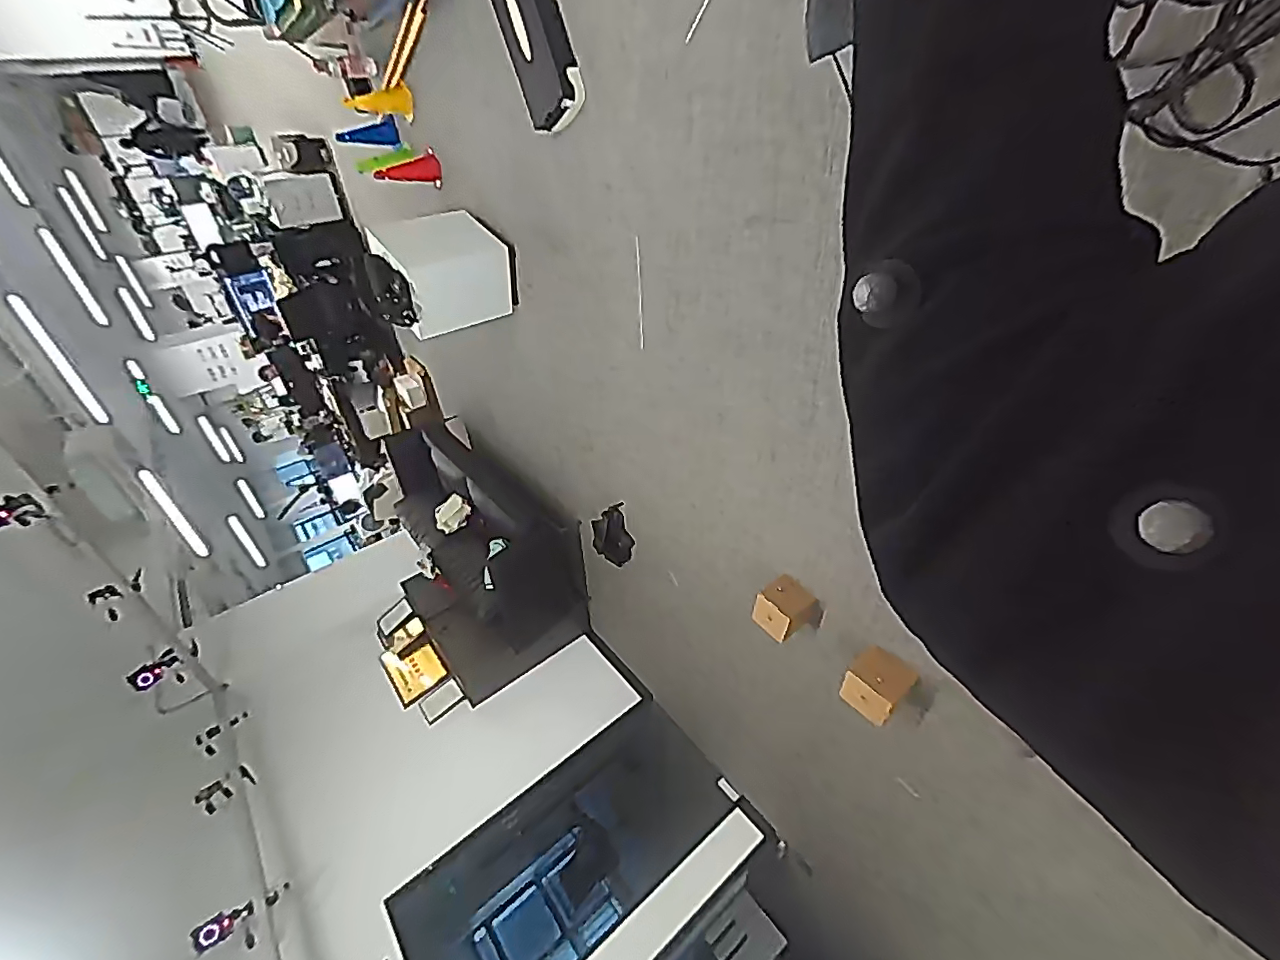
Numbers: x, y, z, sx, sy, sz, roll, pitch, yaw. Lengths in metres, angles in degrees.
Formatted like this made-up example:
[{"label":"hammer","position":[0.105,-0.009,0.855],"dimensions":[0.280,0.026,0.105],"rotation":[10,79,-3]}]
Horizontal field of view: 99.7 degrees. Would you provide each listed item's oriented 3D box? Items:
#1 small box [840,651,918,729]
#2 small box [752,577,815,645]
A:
[{"label":"small box","position":[0.856,0.743,1.942],"dimensions":[0.179,0.176,0.168],"rotation":[36,141,38]},{"label":"small box","position":[0.584,0.527,2.197],"dimensions":[0.168,0.176,0.179],"rotation":[41,145,36]}]
